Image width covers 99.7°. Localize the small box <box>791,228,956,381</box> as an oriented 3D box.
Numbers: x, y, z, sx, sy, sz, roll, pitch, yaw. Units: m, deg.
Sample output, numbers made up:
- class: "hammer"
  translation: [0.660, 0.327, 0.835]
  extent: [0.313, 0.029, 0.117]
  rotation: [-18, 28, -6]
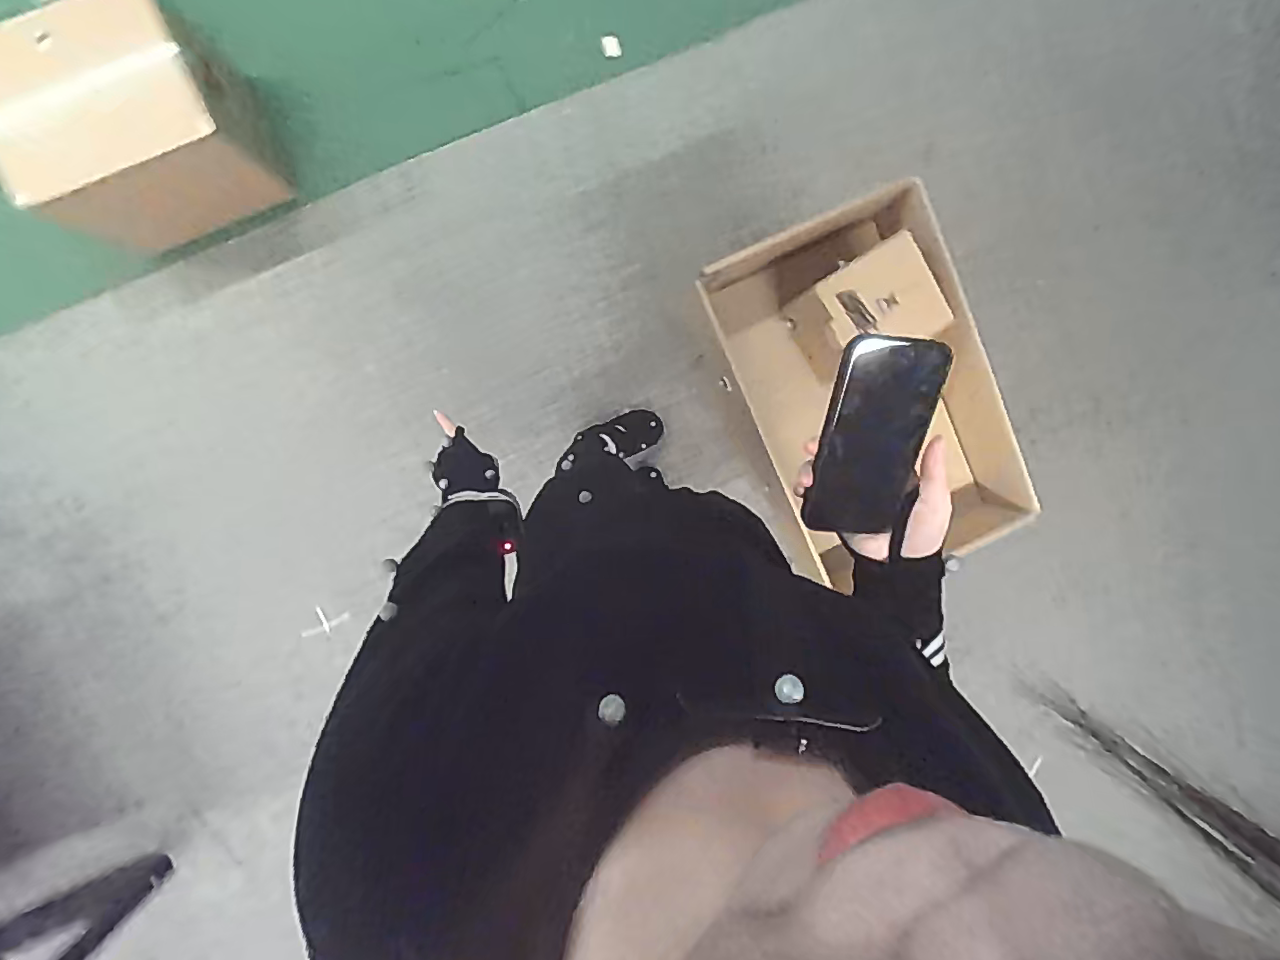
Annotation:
- class: "small box"
  translation: [0.380, -0.283, 0.920]
  extent: [0.179, 0.176, 0.168]
  rotation: [-32, 97, -1]
